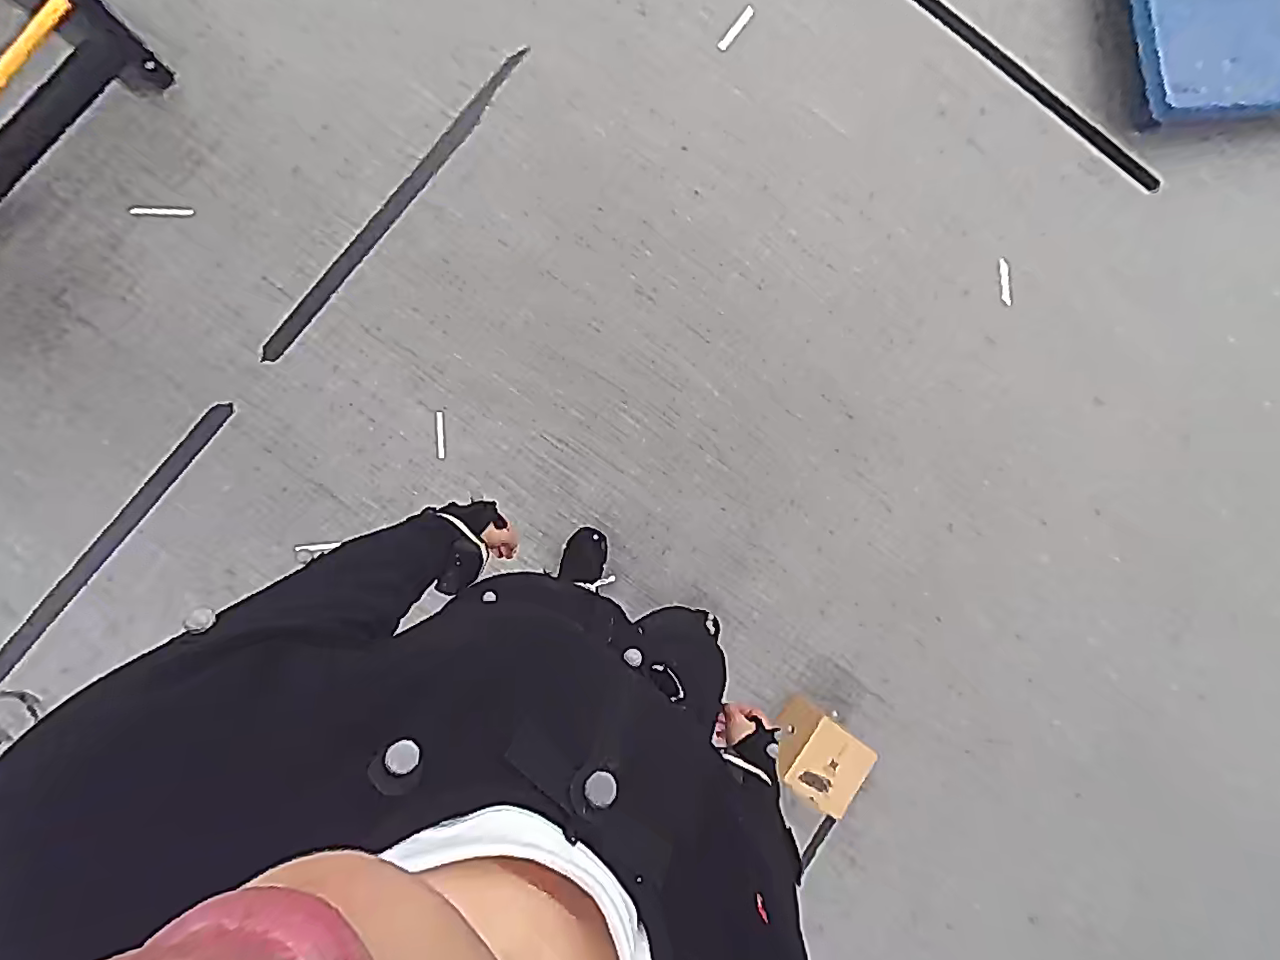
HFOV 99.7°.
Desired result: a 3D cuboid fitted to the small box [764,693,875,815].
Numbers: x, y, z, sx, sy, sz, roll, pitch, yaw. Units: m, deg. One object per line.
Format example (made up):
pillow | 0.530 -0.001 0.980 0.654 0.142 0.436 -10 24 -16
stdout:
small box | 0.427 0.661 1.326 0.168 0.176 0.179 37 84 -2
